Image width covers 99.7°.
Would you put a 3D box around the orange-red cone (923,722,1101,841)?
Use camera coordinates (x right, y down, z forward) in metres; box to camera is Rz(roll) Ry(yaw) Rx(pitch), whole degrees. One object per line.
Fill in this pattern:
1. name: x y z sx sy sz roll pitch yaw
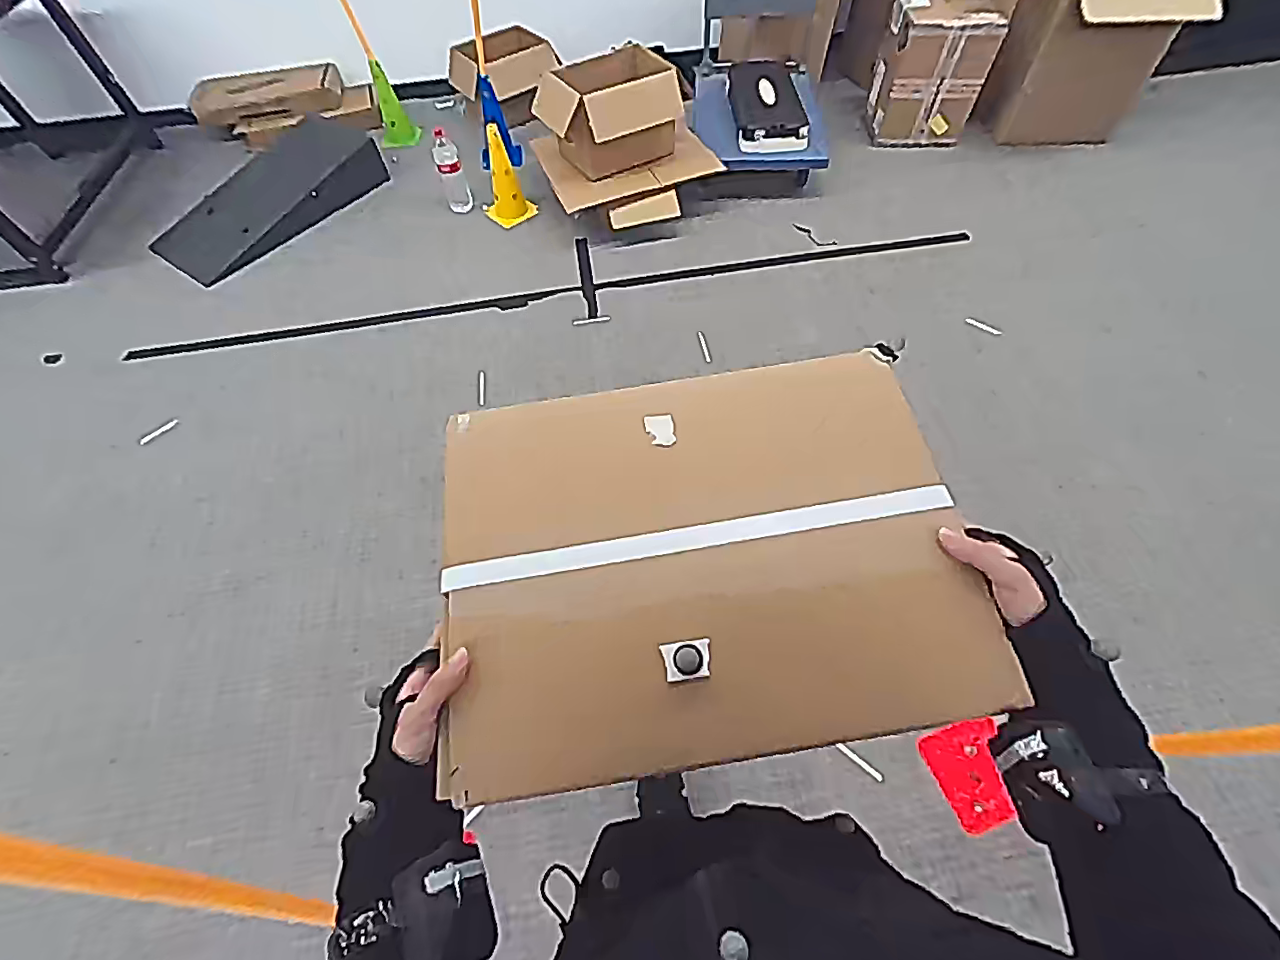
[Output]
1. orange-red cone: 0.743 0.559 1.036 0.199 0.360 0.198 -15 58 -9
